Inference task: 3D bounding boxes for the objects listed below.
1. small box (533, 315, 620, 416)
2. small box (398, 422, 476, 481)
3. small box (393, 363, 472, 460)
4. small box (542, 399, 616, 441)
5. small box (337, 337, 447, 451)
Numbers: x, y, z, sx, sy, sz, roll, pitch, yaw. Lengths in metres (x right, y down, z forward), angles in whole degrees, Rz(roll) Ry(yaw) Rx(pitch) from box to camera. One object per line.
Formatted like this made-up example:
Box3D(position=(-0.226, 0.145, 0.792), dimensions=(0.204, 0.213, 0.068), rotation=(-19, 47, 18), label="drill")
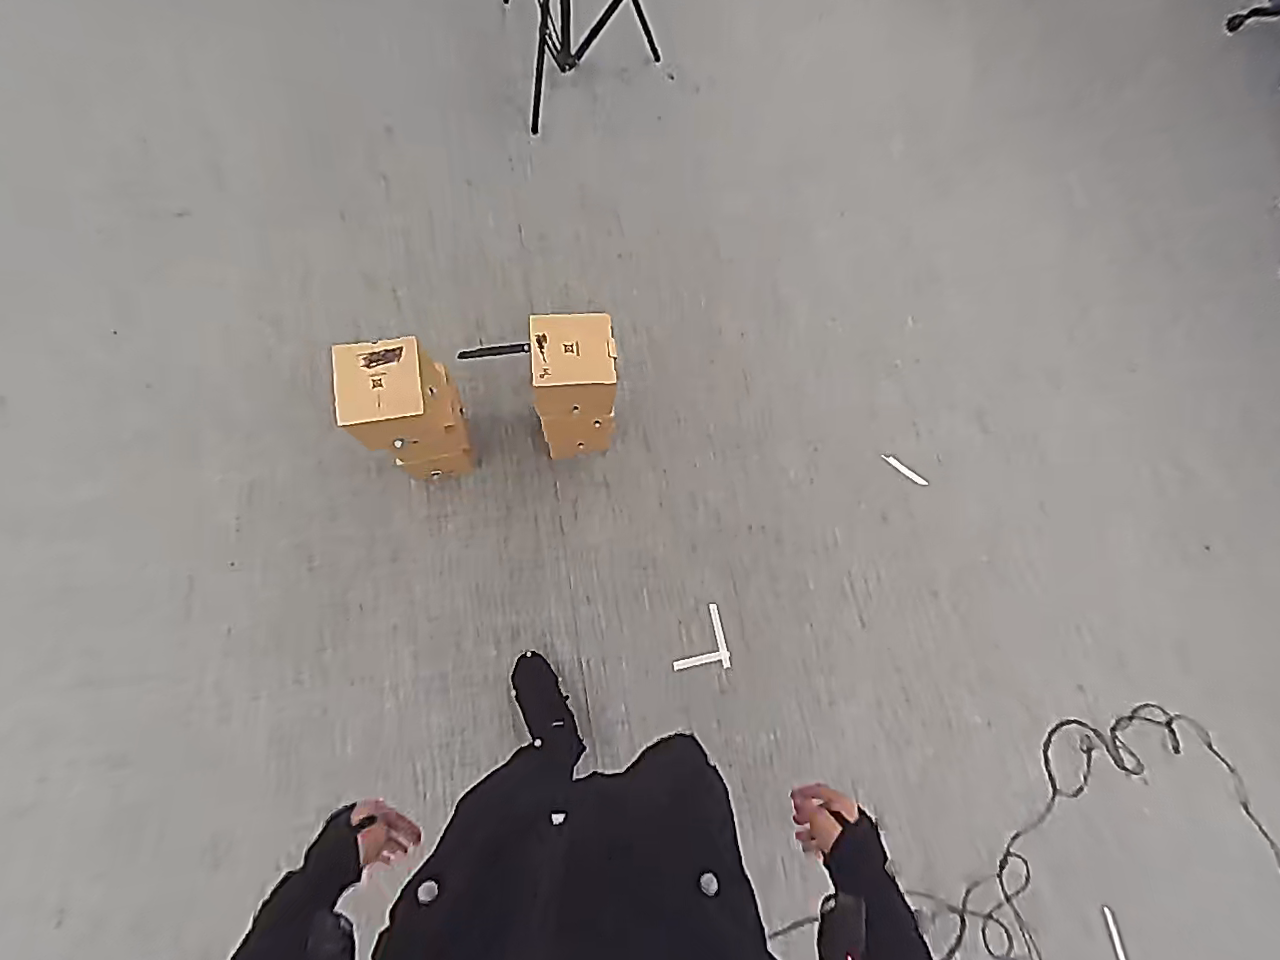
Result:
Box3D(position=(-0.144, -0.249, 1.205), dimensions=(0.179, 0.176, 0.168), rotation=(-3, 75, -8), label="small box")
Box3D(position=(-0.553, -0.113, 1.463), dimensions=(0.168, 0.176, 0.179), rotation=(-12, 77, -9), label="small box")
Box3D(position=(-0.523, -0.160, 1.308), dimensions=(0.179, 0.176, 0.168), rotation=(-13, 77, -9), label="small box")
Box3D(position=(-0.156, -0.202, 1.362), dimensions=(0.179, 0.176, 0.168), rotation=(-3, 76, -8), label="small box")
Box3D(position=(-0.517, -0.176, 1.143), dimensions=(0.168, 0.176, 0.179), rotation=(-9, 77, -7), label="small box")
